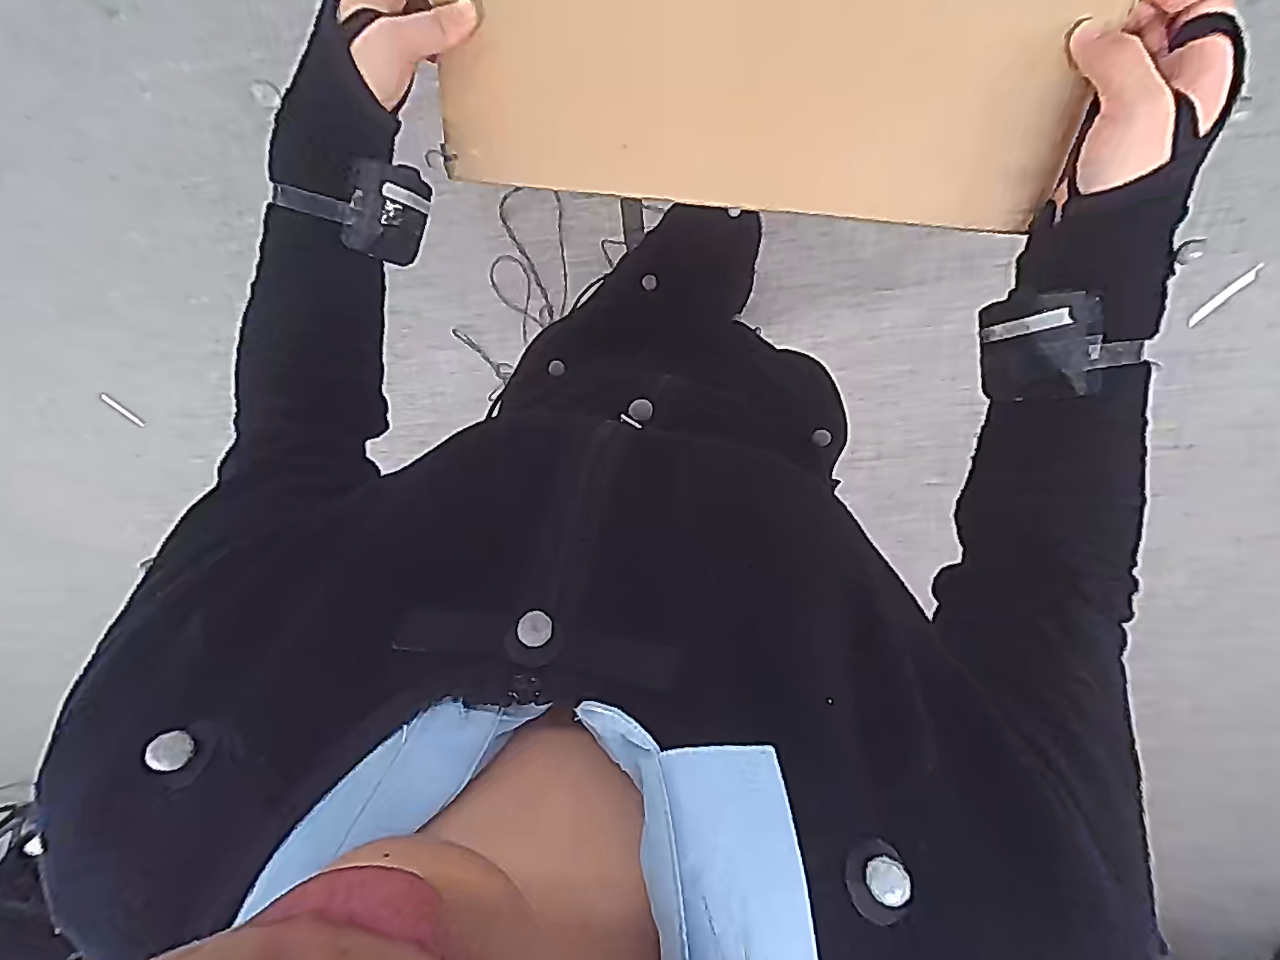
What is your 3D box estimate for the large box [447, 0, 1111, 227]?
[{"bbox_3d":[0.104,-0.399,0.431,0.408,0.320,0.320,11,120,11],"label":"large box"}]
